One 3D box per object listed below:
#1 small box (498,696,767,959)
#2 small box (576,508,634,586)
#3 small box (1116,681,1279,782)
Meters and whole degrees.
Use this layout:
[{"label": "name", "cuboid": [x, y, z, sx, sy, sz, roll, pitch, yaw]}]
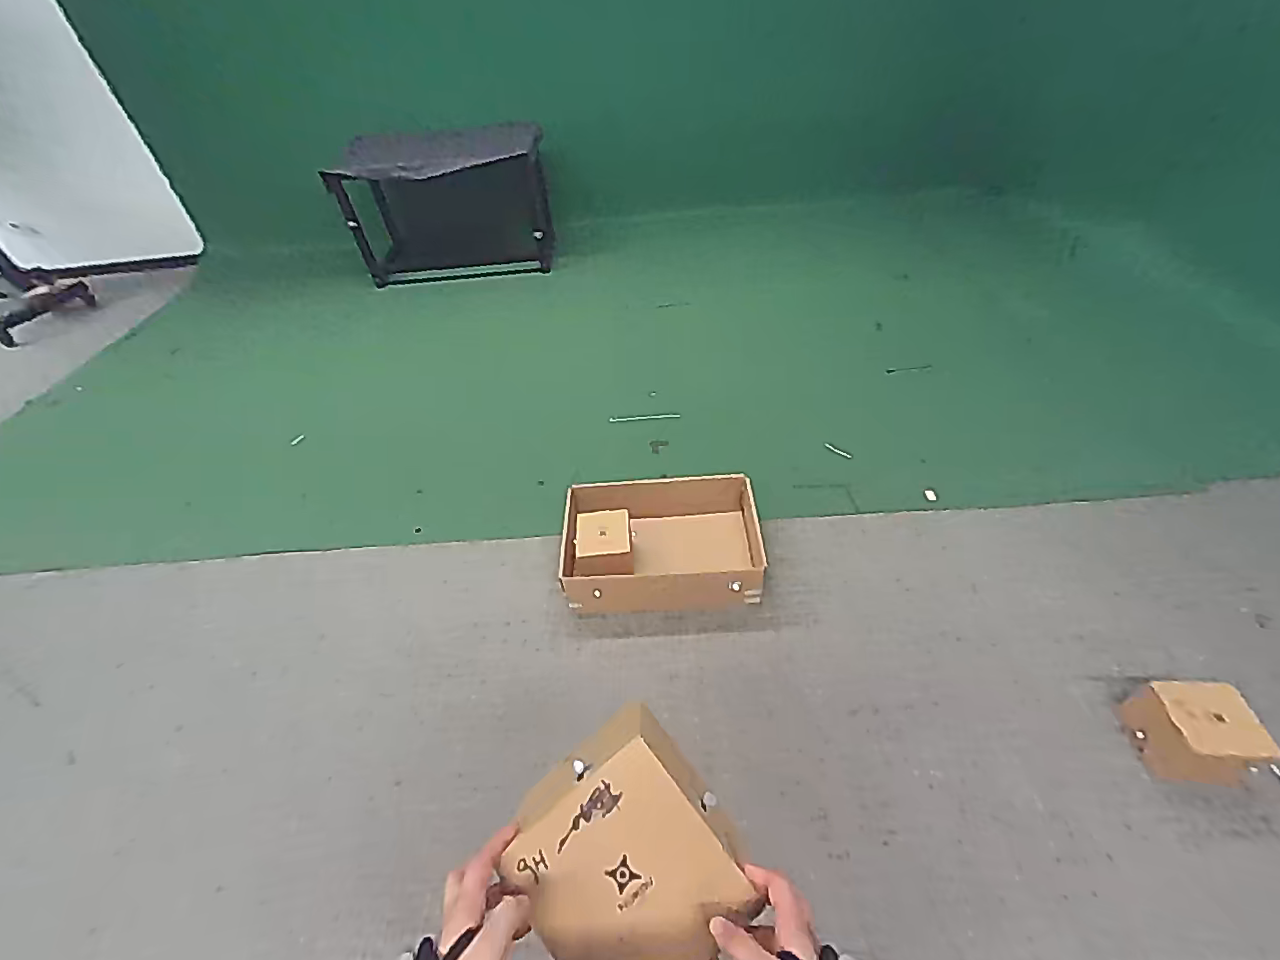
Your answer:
[{"label": "small box", "cuboid": [-0.008, 0.347, 0.536, 0.168, 0.176, 0.179, -38, 84, -7]}, {"label": "small box", "cuboid": [-0.108, 0.214, 1.718, 0.168, 0.176, 0.179, -6, 46, 1]}, {"label": "small box", "cuboid": [1.277, 0.585, 1.254, 0.179, 0.176, 0.168, 0, 44, 6]}]
